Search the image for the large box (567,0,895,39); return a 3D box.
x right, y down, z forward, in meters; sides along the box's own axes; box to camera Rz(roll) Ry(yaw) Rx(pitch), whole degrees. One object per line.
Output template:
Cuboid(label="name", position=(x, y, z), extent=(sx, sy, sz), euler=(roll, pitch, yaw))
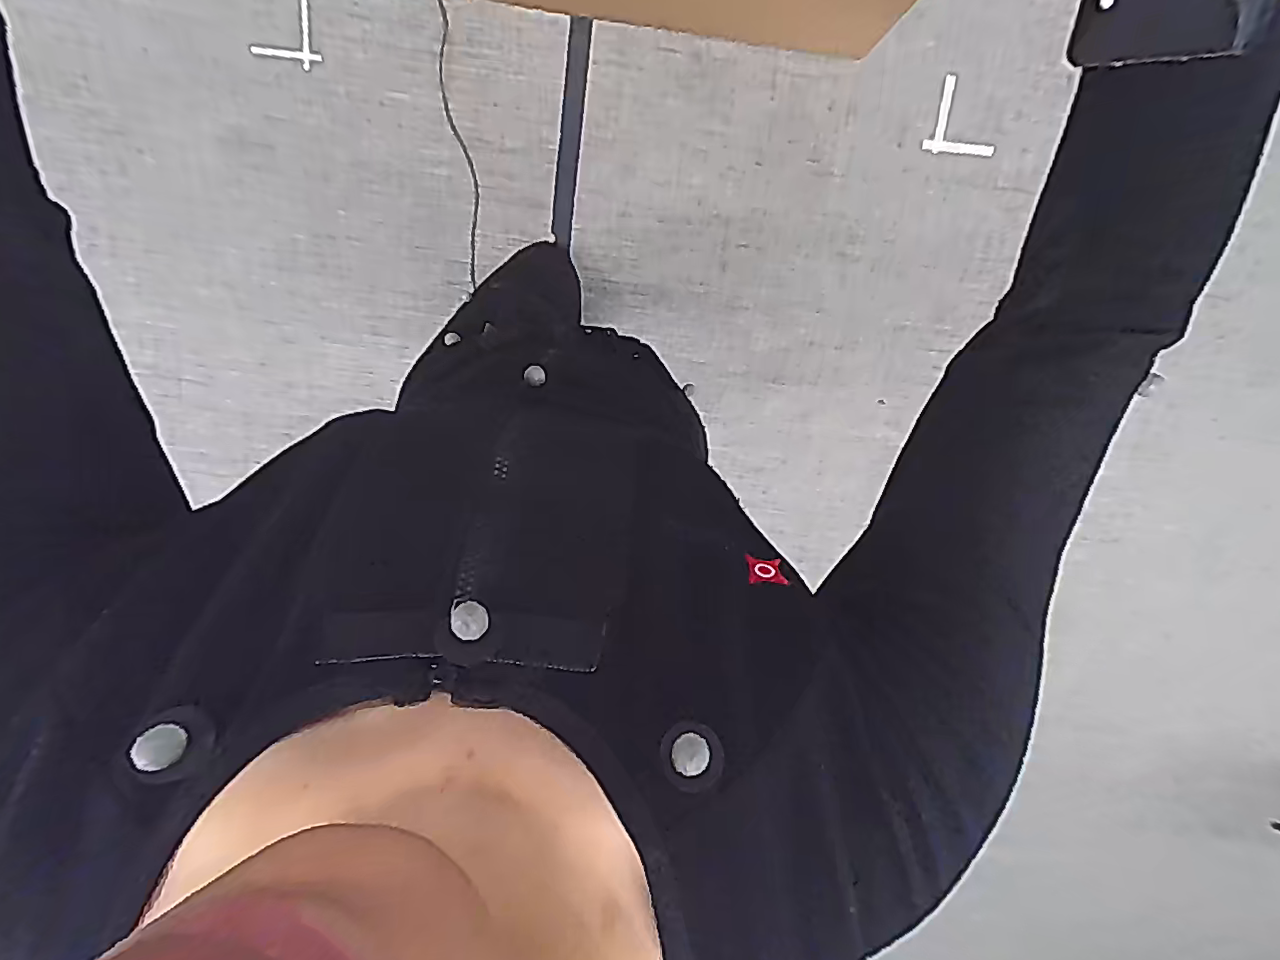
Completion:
Cuboid(label="large box", position=(0.002, -0.460, 0.223), extent=(0.408, 0.320, 0.320), euler=(4, 105, -6))
